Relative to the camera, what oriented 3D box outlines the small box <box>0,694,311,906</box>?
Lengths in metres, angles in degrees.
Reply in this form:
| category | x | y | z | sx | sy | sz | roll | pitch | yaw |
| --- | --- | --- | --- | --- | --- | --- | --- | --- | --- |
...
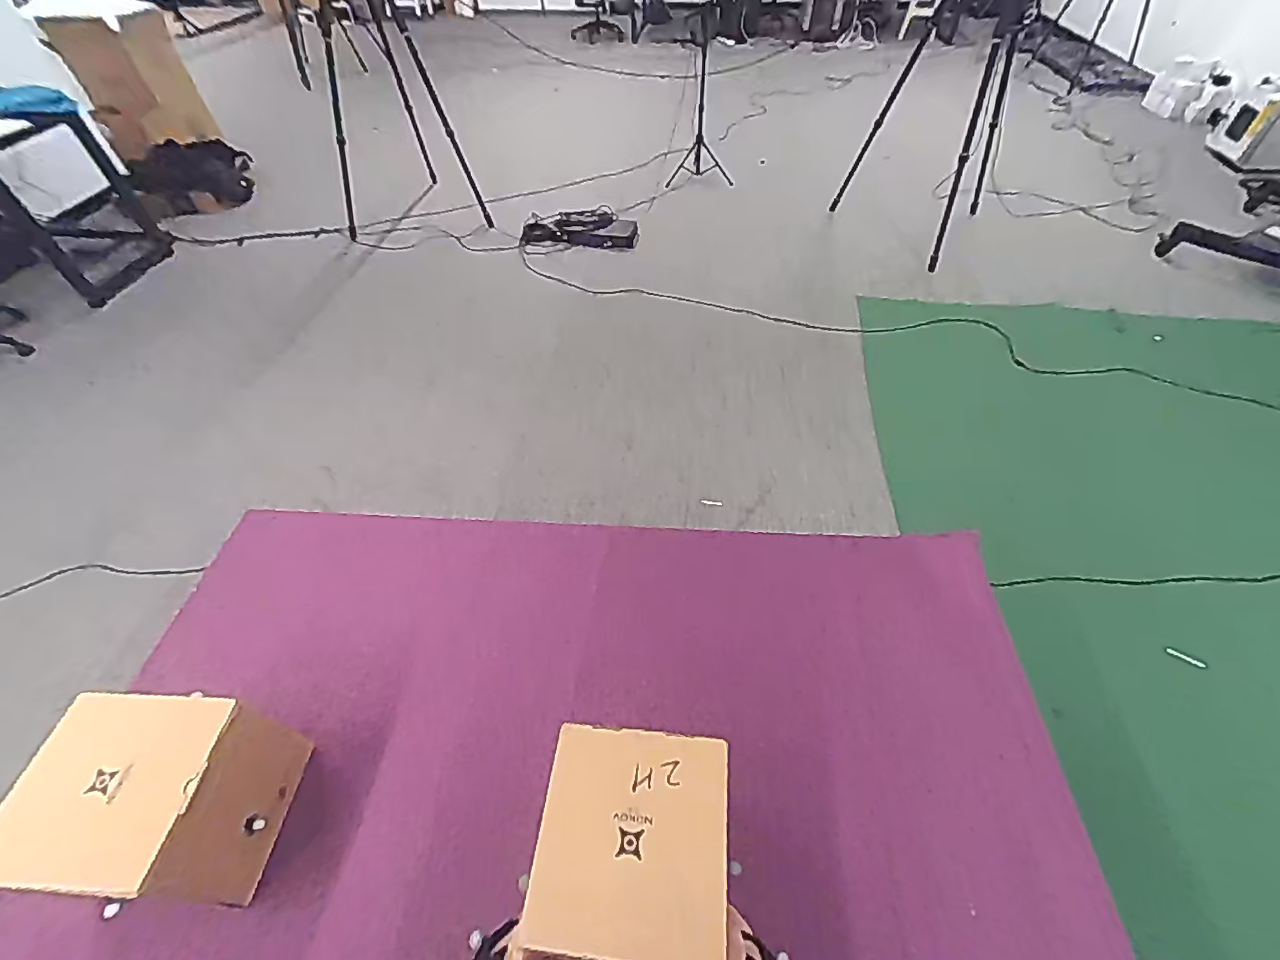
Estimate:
| category | x | y | z | sx | sy | sz | roll | pitch | yaw |
| --- | --- | --- | --- | --- | --- | --- | --- | --- | --- |
| small box | -0.504 | 0.345 | 0.580 | 0.179 | 0.176 | 0.168 | 1 | 48 | 2 |

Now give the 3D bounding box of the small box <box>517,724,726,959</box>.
| category | x | y | z | sx | sy | sz | roll | pitch | yaw |
| --- | --- | --- | --- | --- | --- | --- | --- | --- | --- |
| small box | -0.003 | 0.366 | 0.531 | 0.168 | 0.176 | 0.179 | 3 | 45 | 7 |
